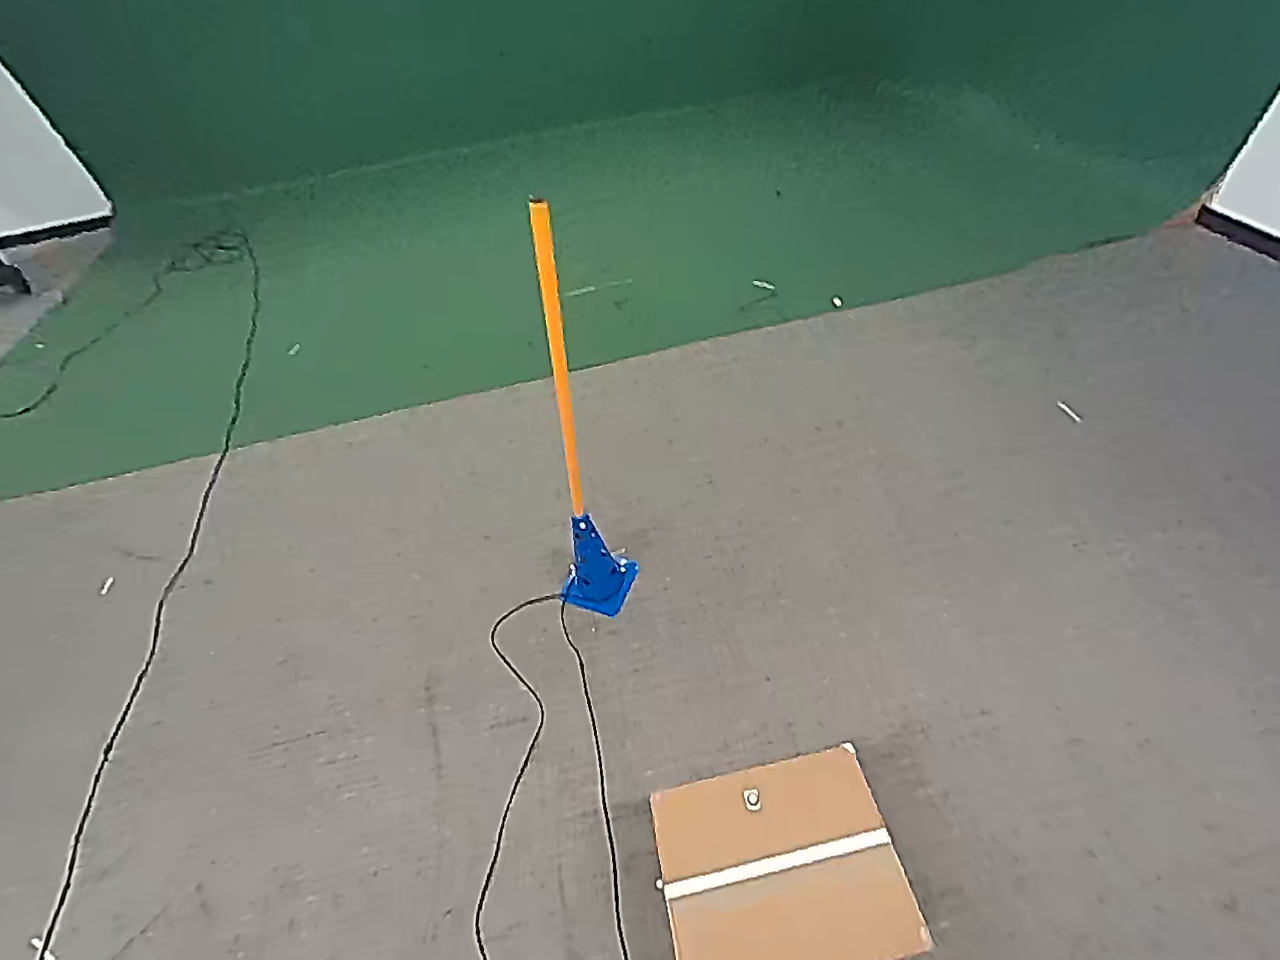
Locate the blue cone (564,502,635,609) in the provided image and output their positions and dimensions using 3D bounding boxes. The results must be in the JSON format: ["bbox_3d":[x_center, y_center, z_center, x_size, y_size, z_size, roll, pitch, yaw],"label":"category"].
[{"bbox_3d":[-0.141,0.193,1.549,0.192,0.380,0.193,12,51,17],"label":"blue cone"}]
